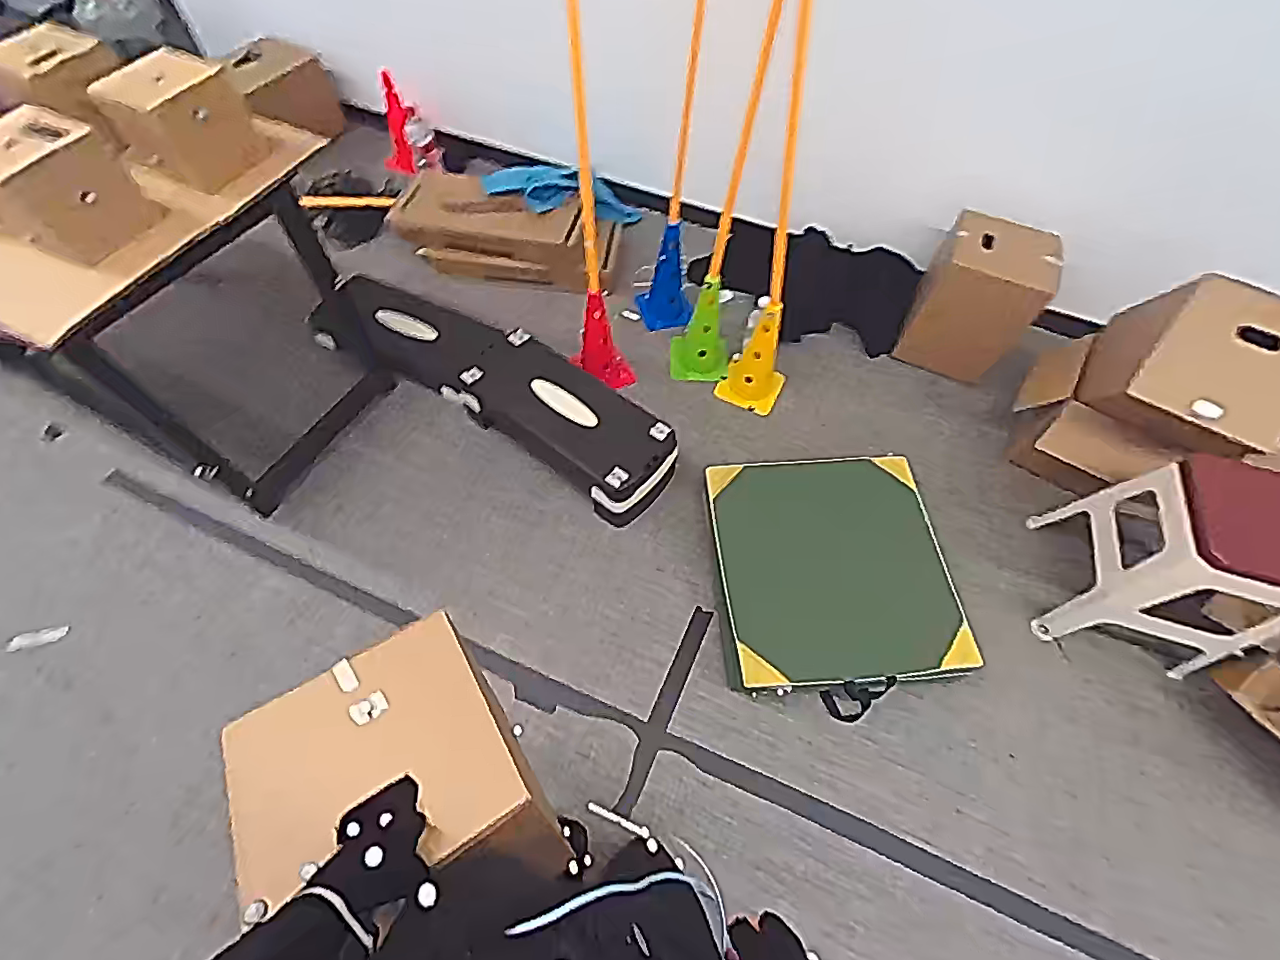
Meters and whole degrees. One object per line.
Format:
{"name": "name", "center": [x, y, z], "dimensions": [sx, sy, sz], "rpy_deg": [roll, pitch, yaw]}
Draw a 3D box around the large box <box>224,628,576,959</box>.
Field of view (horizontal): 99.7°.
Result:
{"name": "large box", "center": [-0.331, 0.500, 0.822], "dimensions": [0.320, 0.408, 0.320], "rpy_deg": [-28, 52, -20]}
